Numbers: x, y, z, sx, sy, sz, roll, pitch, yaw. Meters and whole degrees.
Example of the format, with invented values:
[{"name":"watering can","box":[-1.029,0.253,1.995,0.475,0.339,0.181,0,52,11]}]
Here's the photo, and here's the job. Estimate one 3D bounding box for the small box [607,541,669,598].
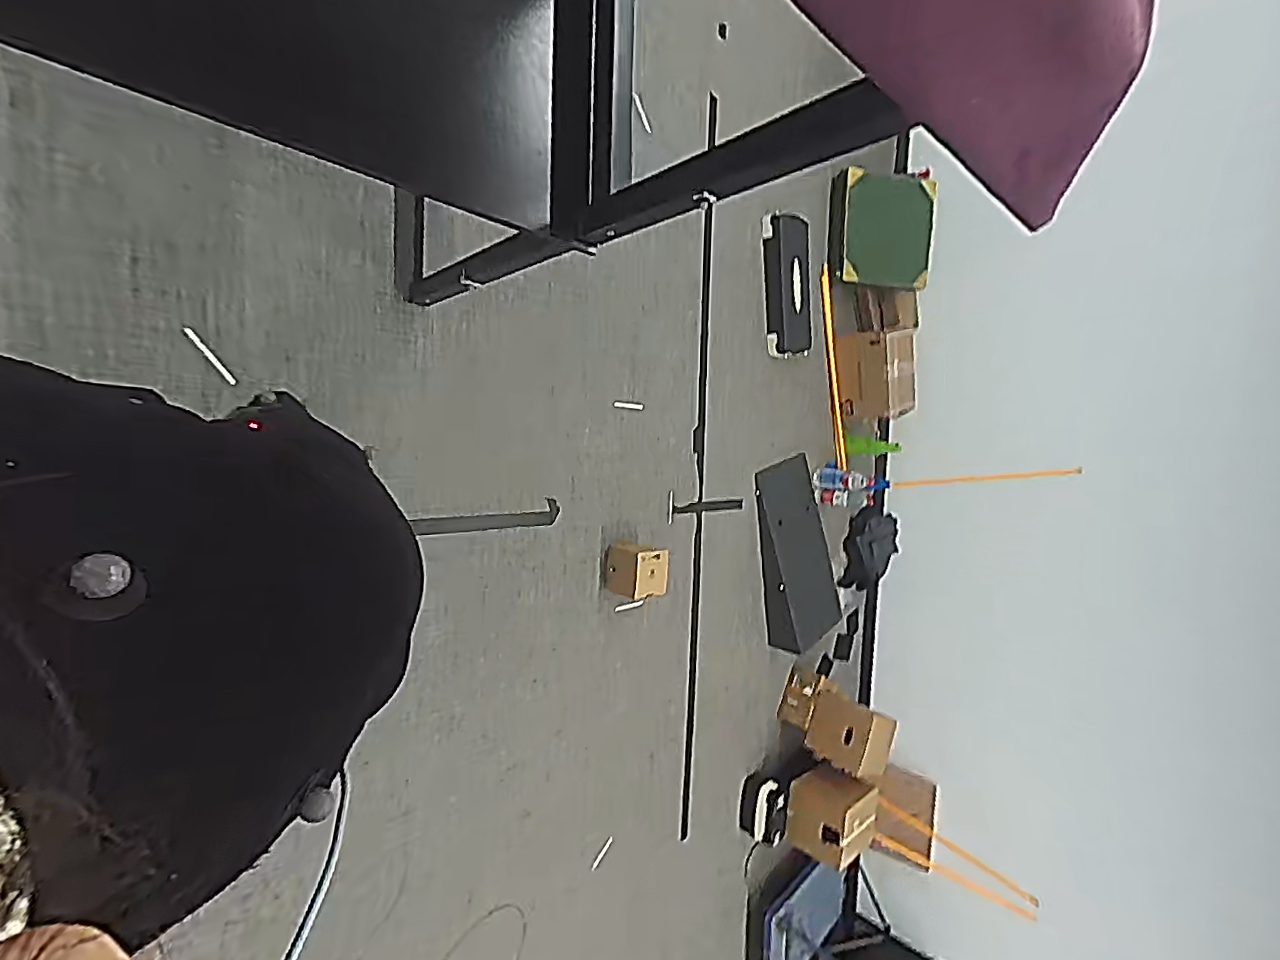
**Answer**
[{"name":"small box","box":[-0.011,0.338,2.069,0.168,0.176,0.179,1,95,-45]}]
